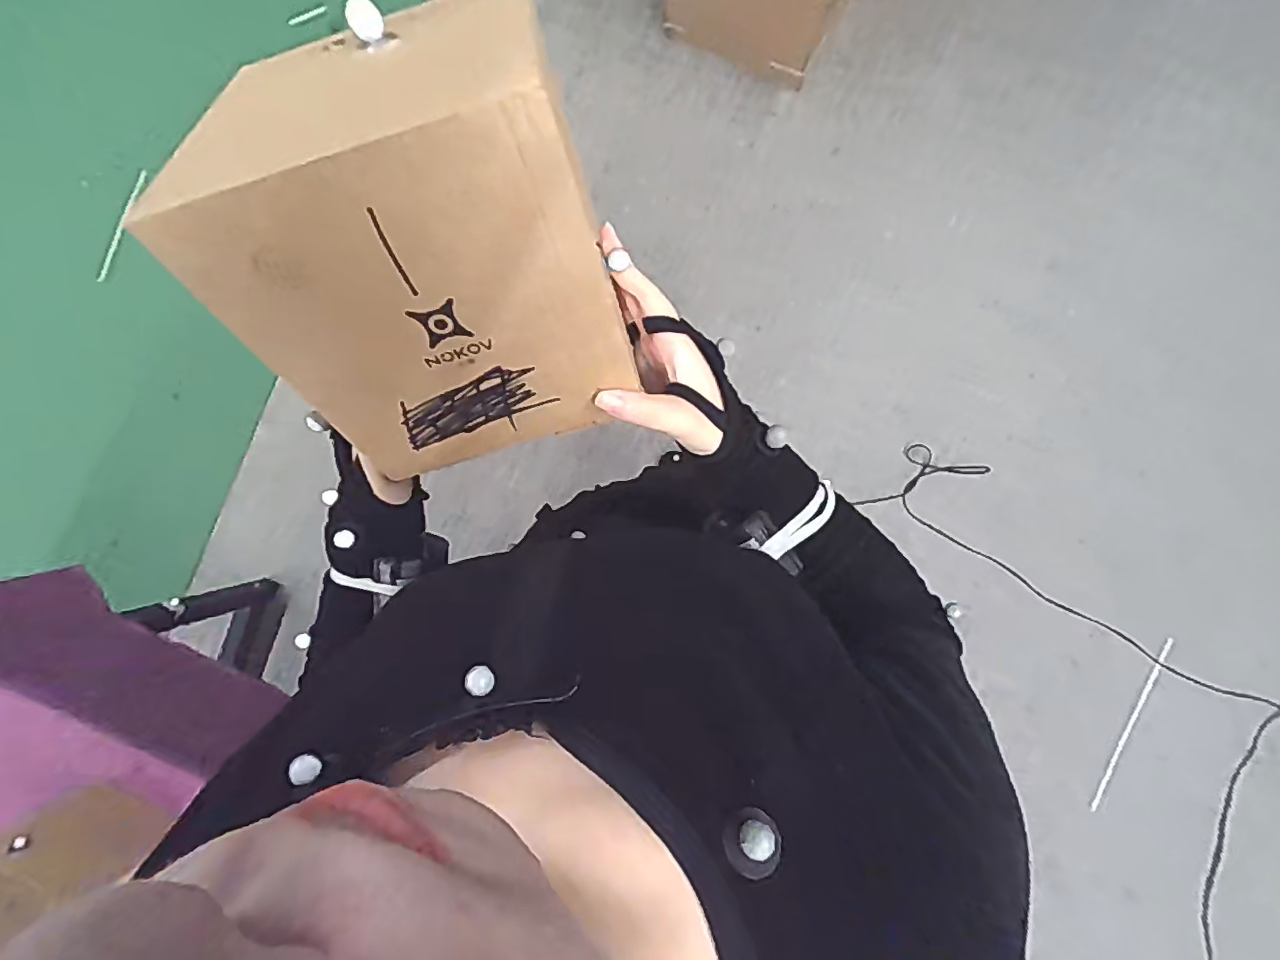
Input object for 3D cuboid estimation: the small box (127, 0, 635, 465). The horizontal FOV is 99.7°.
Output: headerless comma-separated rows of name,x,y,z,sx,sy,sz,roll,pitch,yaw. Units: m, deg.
small box,-0.108,-0.140,0.310,0.168,0.179,0.176,-15,53,4
